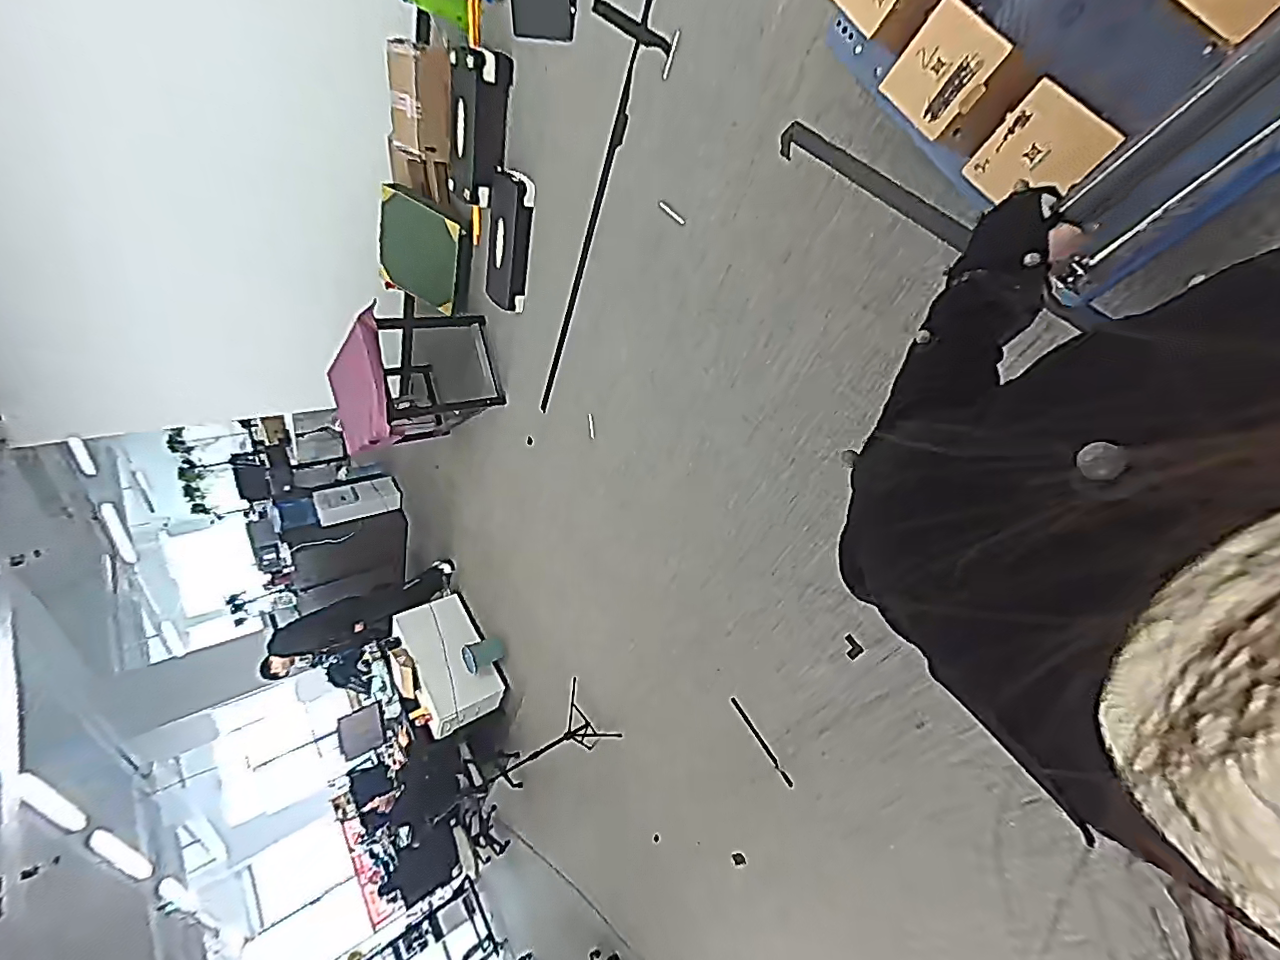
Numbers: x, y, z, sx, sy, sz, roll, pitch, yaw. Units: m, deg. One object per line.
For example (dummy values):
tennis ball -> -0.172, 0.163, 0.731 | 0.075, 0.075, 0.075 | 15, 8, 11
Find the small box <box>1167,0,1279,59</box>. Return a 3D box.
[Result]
small box -> 0.864, -0.720, 0.738 | 0.179, 0.176, 0.168 | 61, 140, 17

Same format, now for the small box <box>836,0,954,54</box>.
small box -> 0.510, -0.995, 1.072 | 0.179, 0.176, 0.168 | 61, 141, 15

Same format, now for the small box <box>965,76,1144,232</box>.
small box -> 0.732, -0.563, 0.954 | 0.179, 0.176, 0.168 | 58, 139, 19
